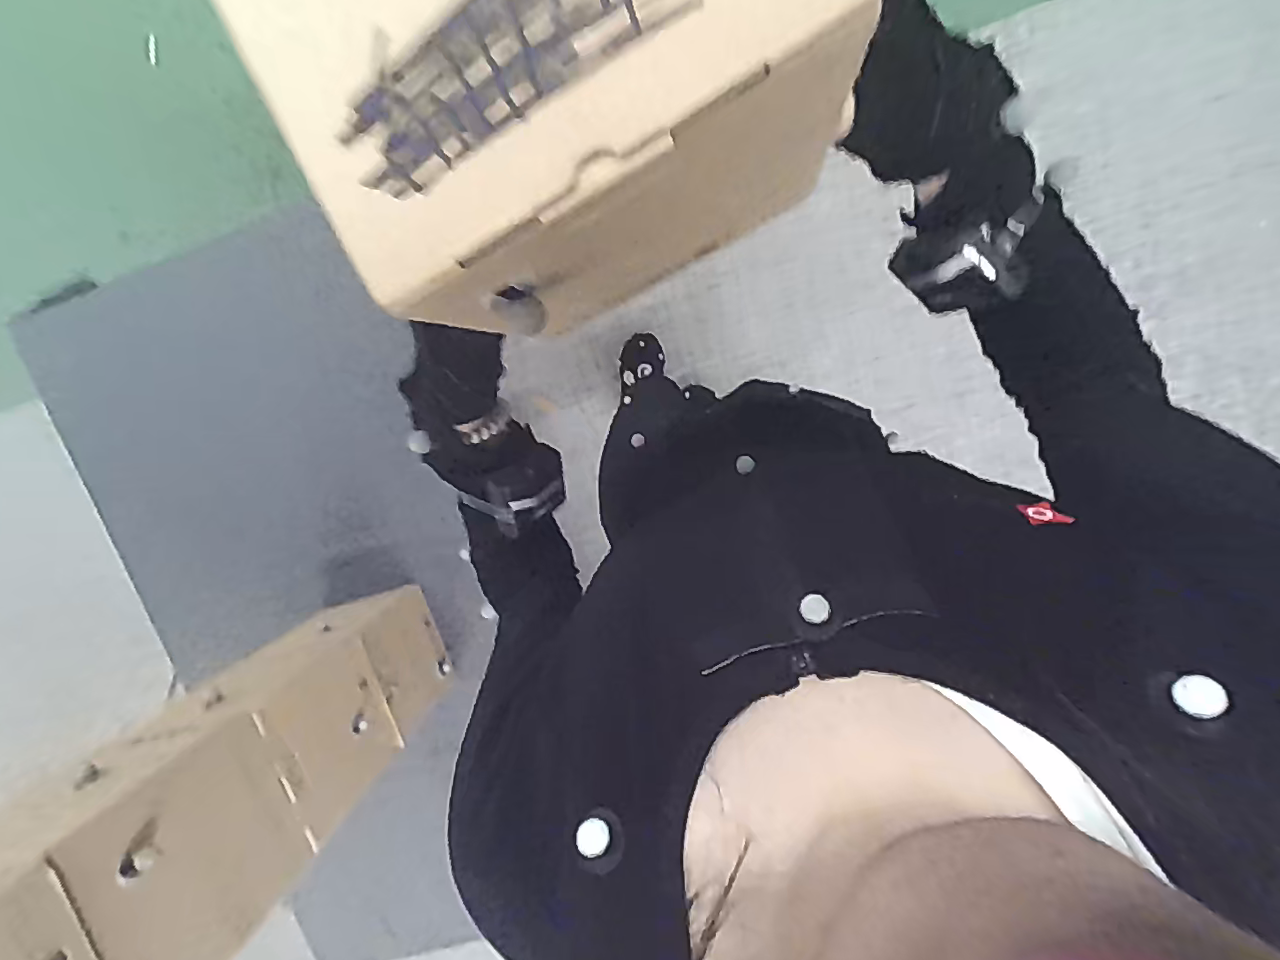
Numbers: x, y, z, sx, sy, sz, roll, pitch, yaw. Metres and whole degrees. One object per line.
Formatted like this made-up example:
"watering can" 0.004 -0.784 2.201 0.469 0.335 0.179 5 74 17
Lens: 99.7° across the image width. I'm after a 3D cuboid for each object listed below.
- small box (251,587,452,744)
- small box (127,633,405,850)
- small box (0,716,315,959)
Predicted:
"small box" -0.397 0.274 0.783 0.179 0.176 0.168 -17 98 10
"small box" -0.413 0.302 0.624 0.179 0.176 0.168 -17 98 8
"small box" -0.427 0.328 0.462 0.168 0.176 0.179 -16 98 9
